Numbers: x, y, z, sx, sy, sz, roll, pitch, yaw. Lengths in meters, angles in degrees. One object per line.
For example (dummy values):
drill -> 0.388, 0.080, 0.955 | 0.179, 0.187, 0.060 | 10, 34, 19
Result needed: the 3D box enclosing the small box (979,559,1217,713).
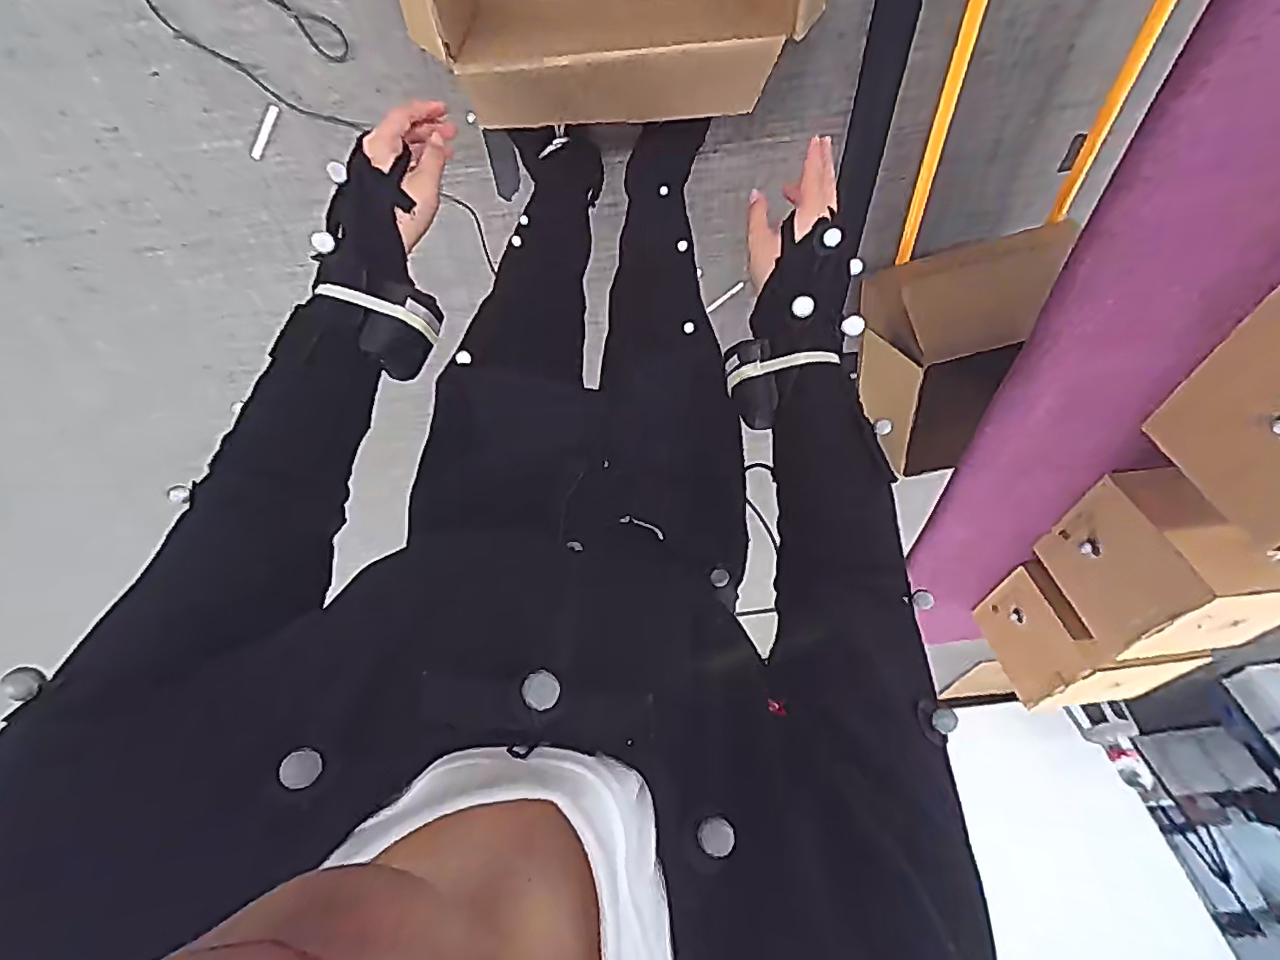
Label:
small box -> 0.665, 0.232, 0.813 | 0.179, 0.176, 0.168 | -5, 140, -3
